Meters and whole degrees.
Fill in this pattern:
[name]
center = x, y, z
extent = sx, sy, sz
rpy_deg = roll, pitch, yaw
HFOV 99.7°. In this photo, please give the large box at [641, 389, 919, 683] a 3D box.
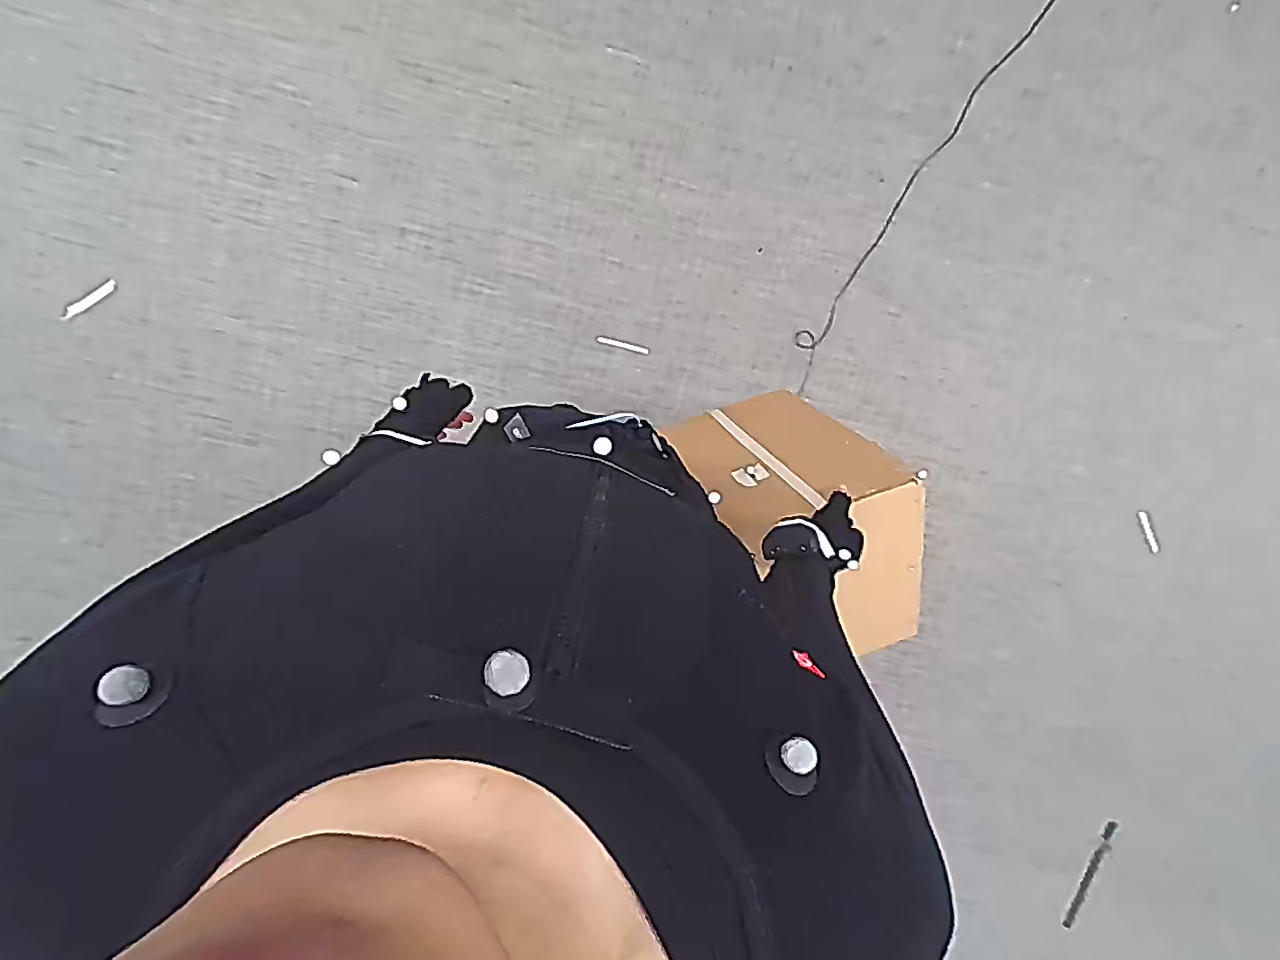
[large box]
center = 0.226, 0.075, 0.988
extent = 0.320, 0.408, 0.320
rpy_deg = -19, 122, -7
